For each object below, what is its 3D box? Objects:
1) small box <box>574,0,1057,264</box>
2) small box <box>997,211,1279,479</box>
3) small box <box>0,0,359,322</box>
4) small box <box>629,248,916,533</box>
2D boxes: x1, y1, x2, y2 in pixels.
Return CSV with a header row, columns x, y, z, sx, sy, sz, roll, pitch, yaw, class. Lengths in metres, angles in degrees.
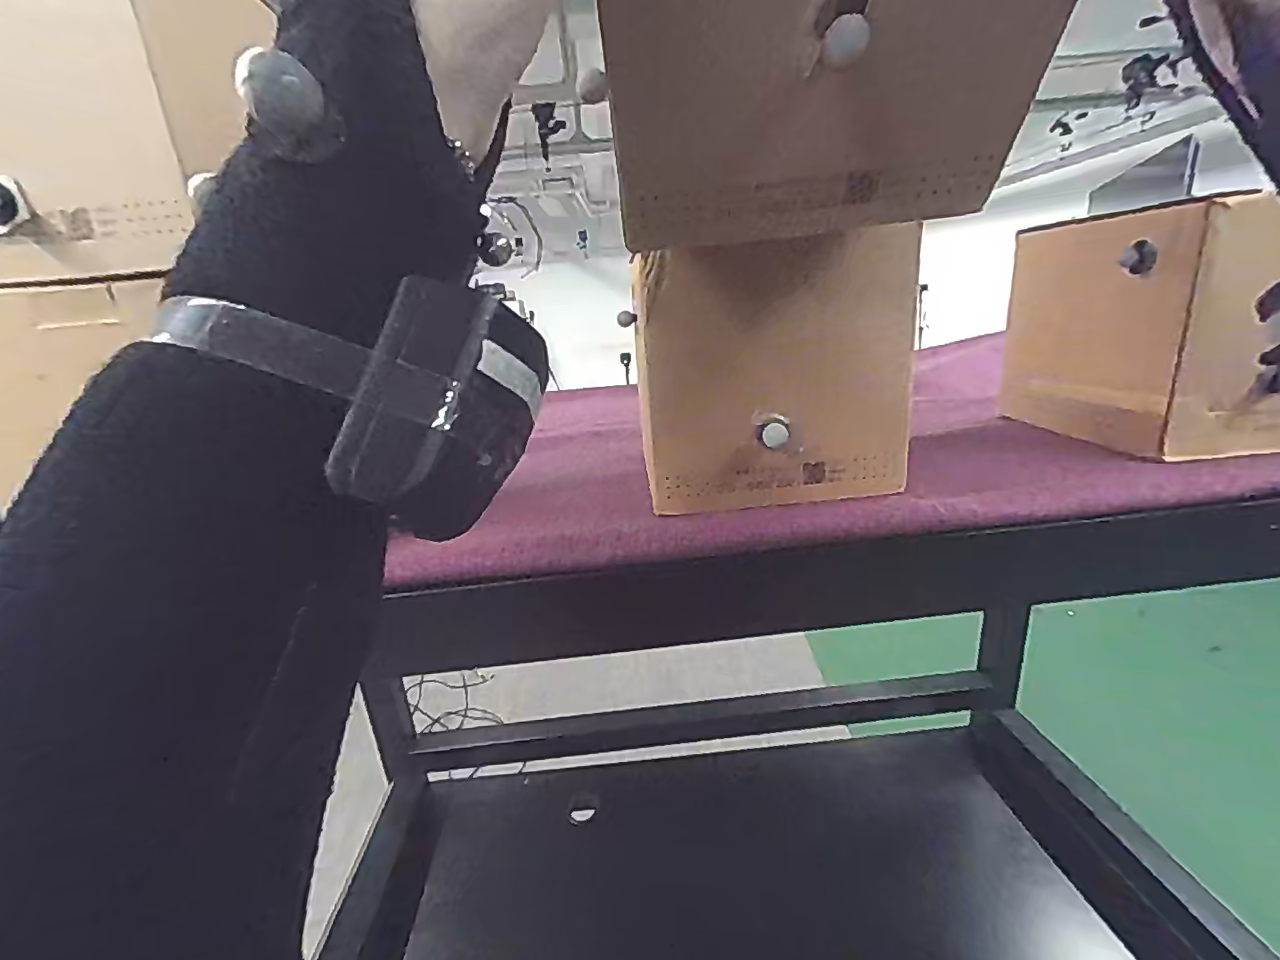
x,y,z,sx,sy,sz,roll,pitch,yaw,class
0.060,-0.213,0.235,0.168,0.176,0.179,-5,56,4,small box
0.416,-0.108,0.422,0.168,0.176,0.179,-5,20,1,small box
-0.304,-0.186,0.338,0.168,0.176,0.179,-6,18,1,small box
0.080,-0.073,0.412,0.168,0.176,0.179,-6,19,-1,small box
